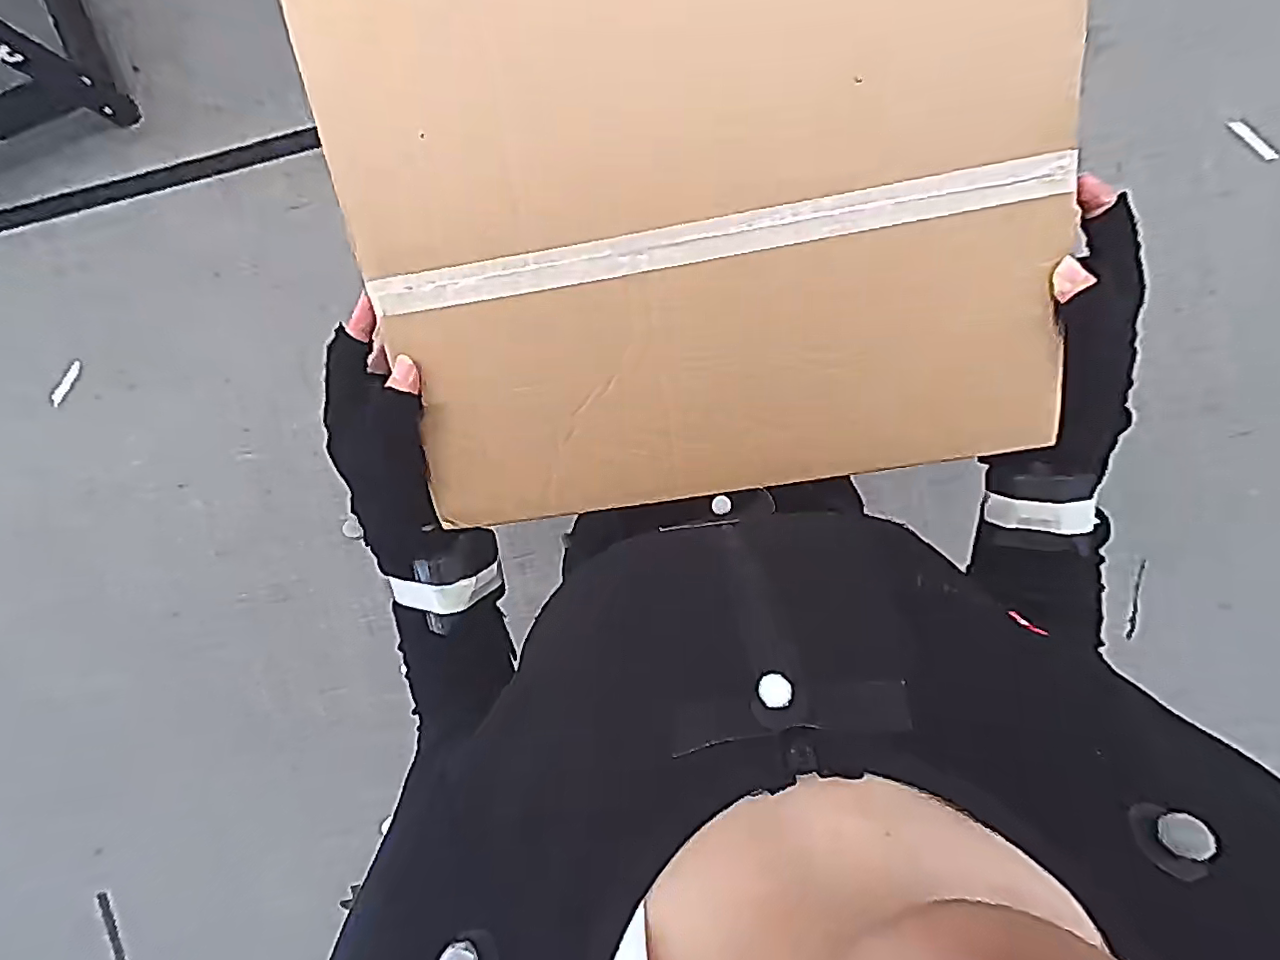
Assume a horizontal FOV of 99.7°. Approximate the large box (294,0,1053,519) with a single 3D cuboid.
[{"bbox_3d":[0.037,-0.194,0.462,0.408,0.320,0.320,-8,108,4],"label":"large box"}]
